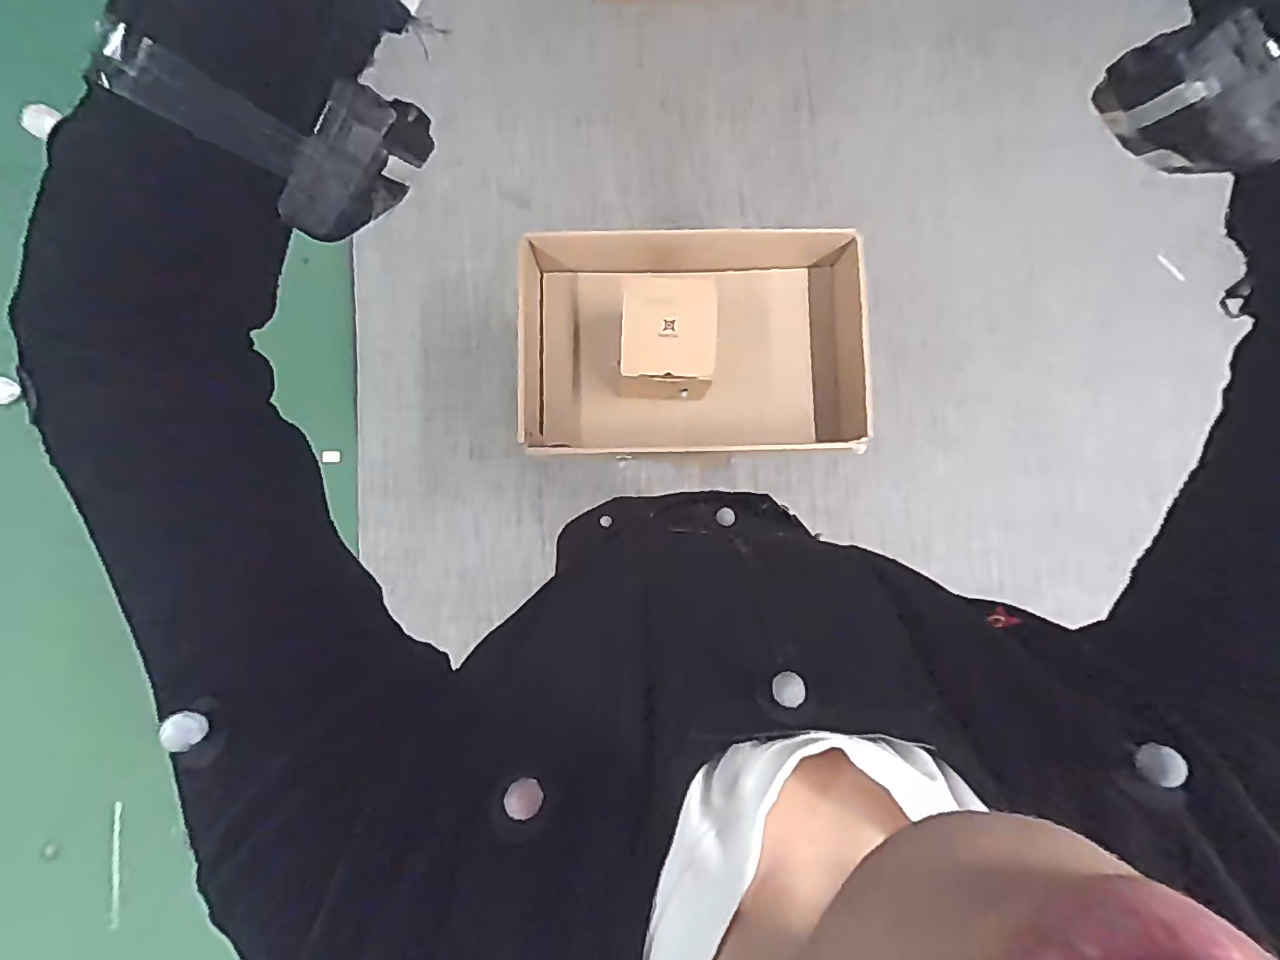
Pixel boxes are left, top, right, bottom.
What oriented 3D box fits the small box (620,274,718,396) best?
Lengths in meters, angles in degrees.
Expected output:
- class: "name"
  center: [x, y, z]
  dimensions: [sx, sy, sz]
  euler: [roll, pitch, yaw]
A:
- class: "small box"
  center: [0.048, -0.261, 1.009]
  dimensions: [0.168, 0.176, 0.179]
  euler: [2, 84, -3]
